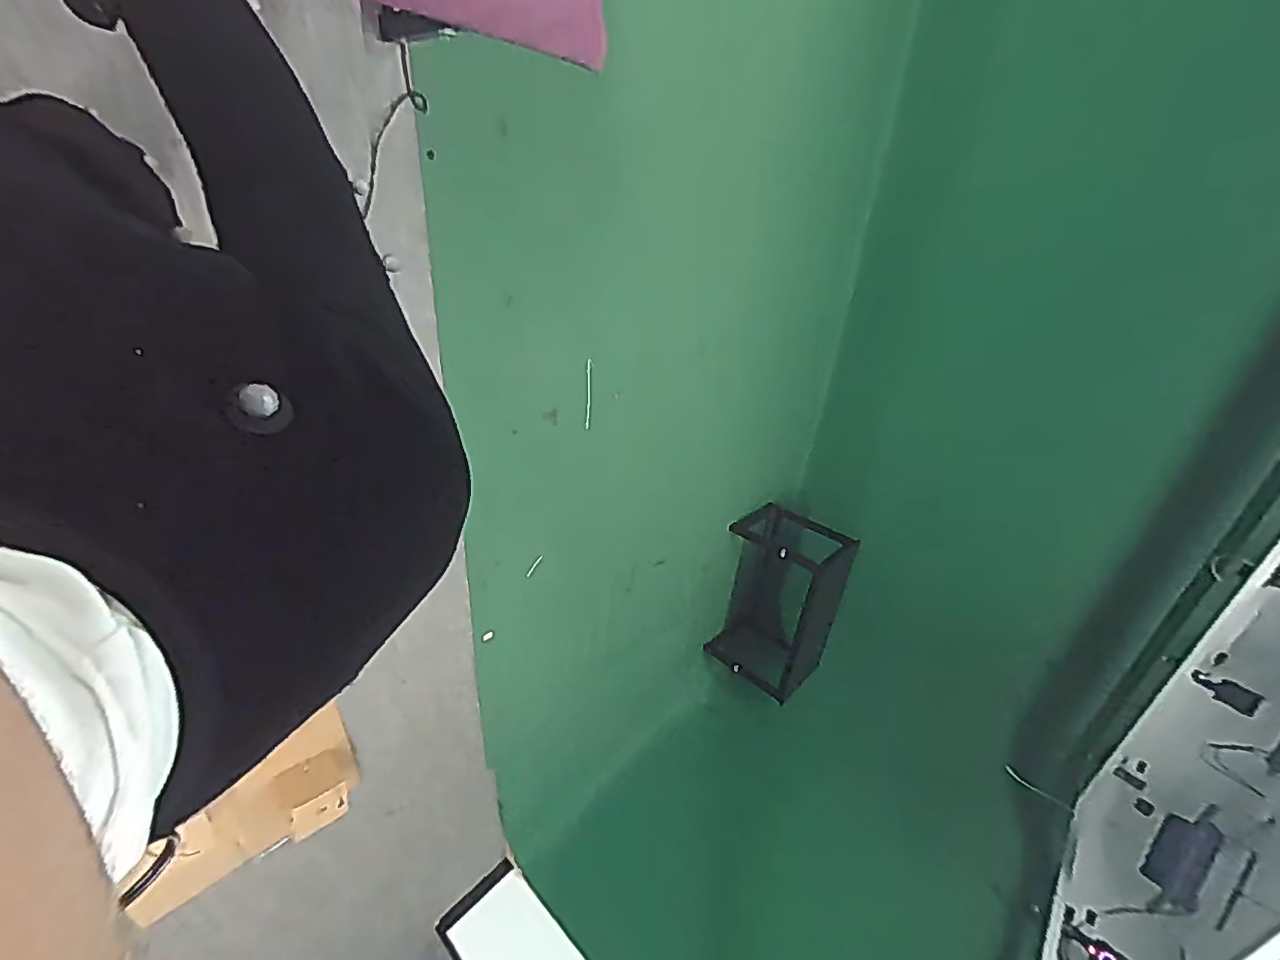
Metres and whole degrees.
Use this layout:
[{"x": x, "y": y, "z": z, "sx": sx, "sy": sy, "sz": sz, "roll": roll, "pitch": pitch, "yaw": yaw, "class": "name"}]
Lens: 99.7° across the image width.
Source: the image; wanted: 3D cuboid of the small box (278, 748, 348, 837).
[{"x": -1.173, "y": 1.110, "z": 1.933, "sx": 0.179, "sy": 0.176, "sz": 0.168, "roll": -15, "pitch": 124, "yaw": -47, "class": "small box"}]

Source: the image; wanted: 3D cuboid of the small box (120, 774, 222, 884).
[{"x": -1.389, "y": 1.023, "z": 1.602, "sx": 0.179, "sy": 0.176, "sz": 0.168, "roll": -24, "pitch": 129, "yaw": -43, "class": "small box"}]
